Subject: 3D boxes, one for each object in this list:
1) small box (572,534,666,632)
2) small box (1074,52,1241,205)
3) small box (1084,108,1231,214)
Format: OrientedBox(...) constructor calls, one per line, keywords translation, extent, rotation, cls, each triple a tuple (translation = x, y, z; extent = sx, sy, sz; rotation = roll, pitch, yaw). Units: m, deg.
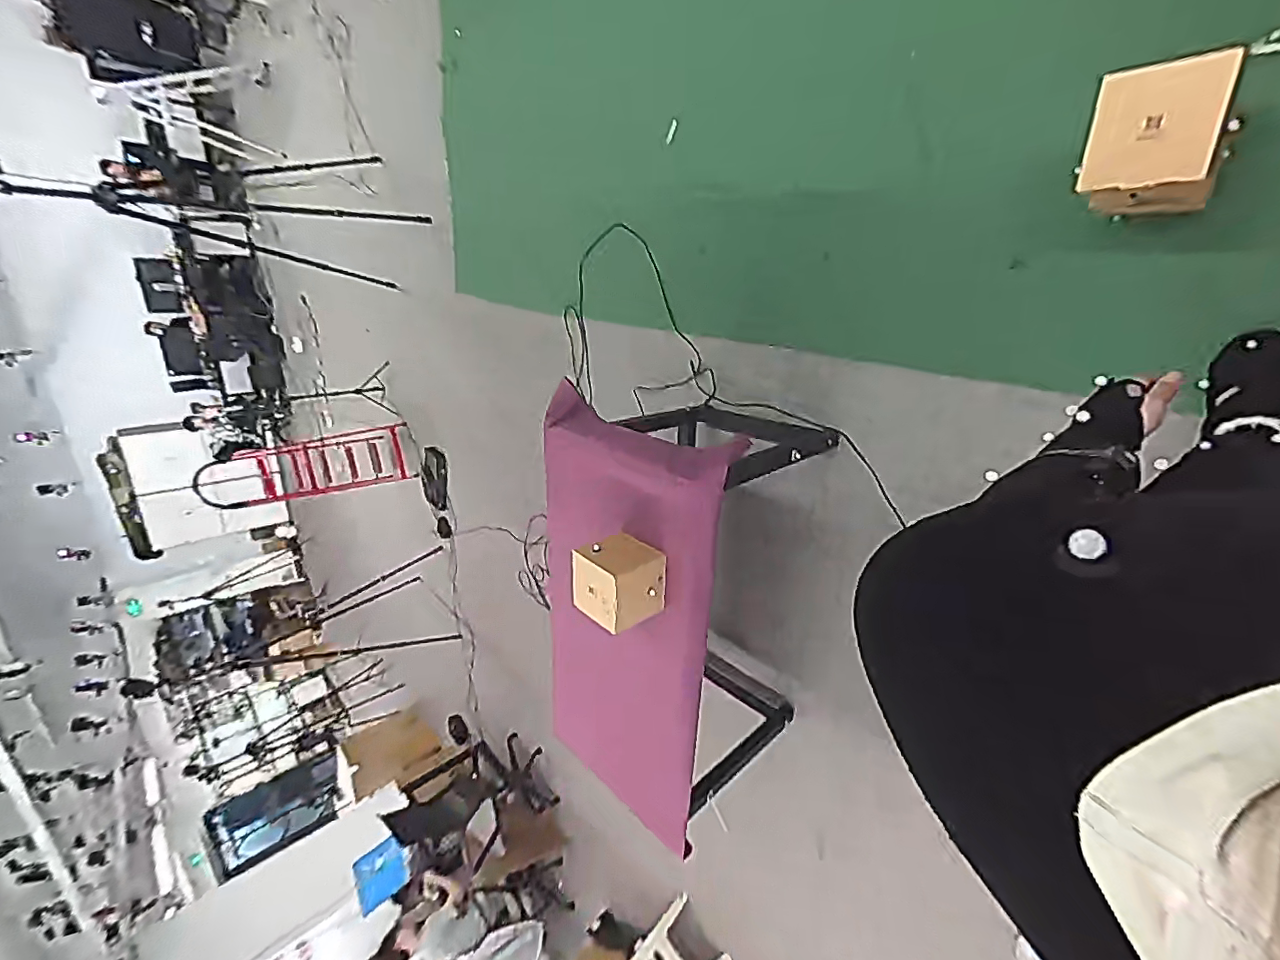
OrientedBox(translation=(-0.056, 0.253, 1.383), extent=(0.179, 0.176, 0.168), rotation=(23, 120, 43), cls="small box")
OrientedBox(translation=(0.885, -0.589, 0.932), extent=(0.168, 0.176, 0.179), rotation=(19, 116, 43), cls="small box")
OrientedBox(translation=(0.999, -0.617, 1.044), extent=(0.168, 0.176, 0.179), rotation=(21, 116, 42), cls="small box")
